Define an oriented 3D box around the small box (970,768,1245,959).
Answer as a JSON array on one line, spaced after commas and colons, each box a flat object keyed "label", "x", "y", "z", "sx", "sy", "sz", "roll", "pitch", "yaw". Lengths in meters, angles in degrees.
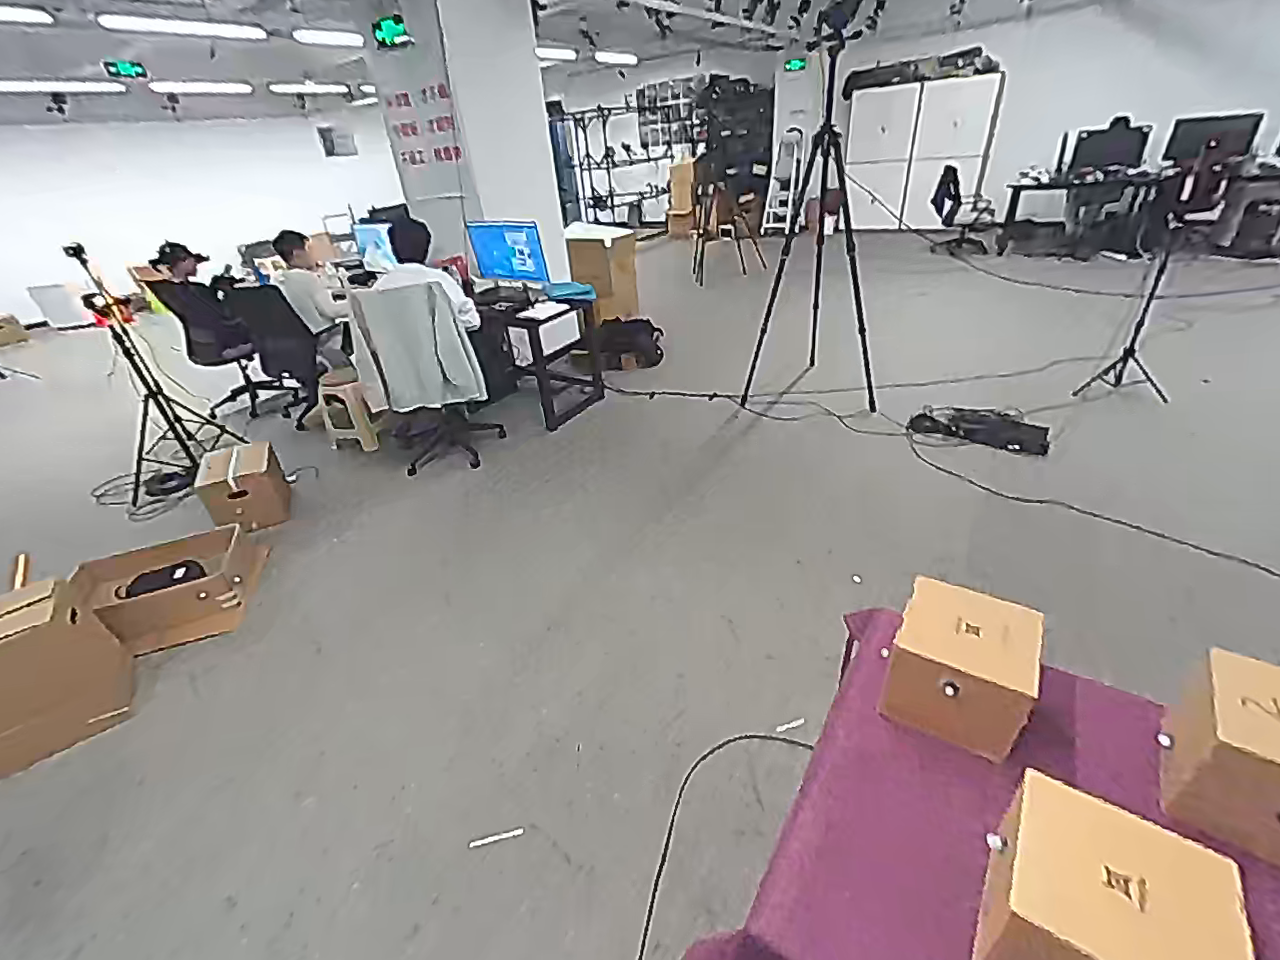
[{"label": "small box", "x": 0.472, "y": 0.458, "z": 0.567, "sx": 0.179, "sy": 0.176, "sz": 0.168, "roll": 18, "pitch": 39, "yaw": 32}]
